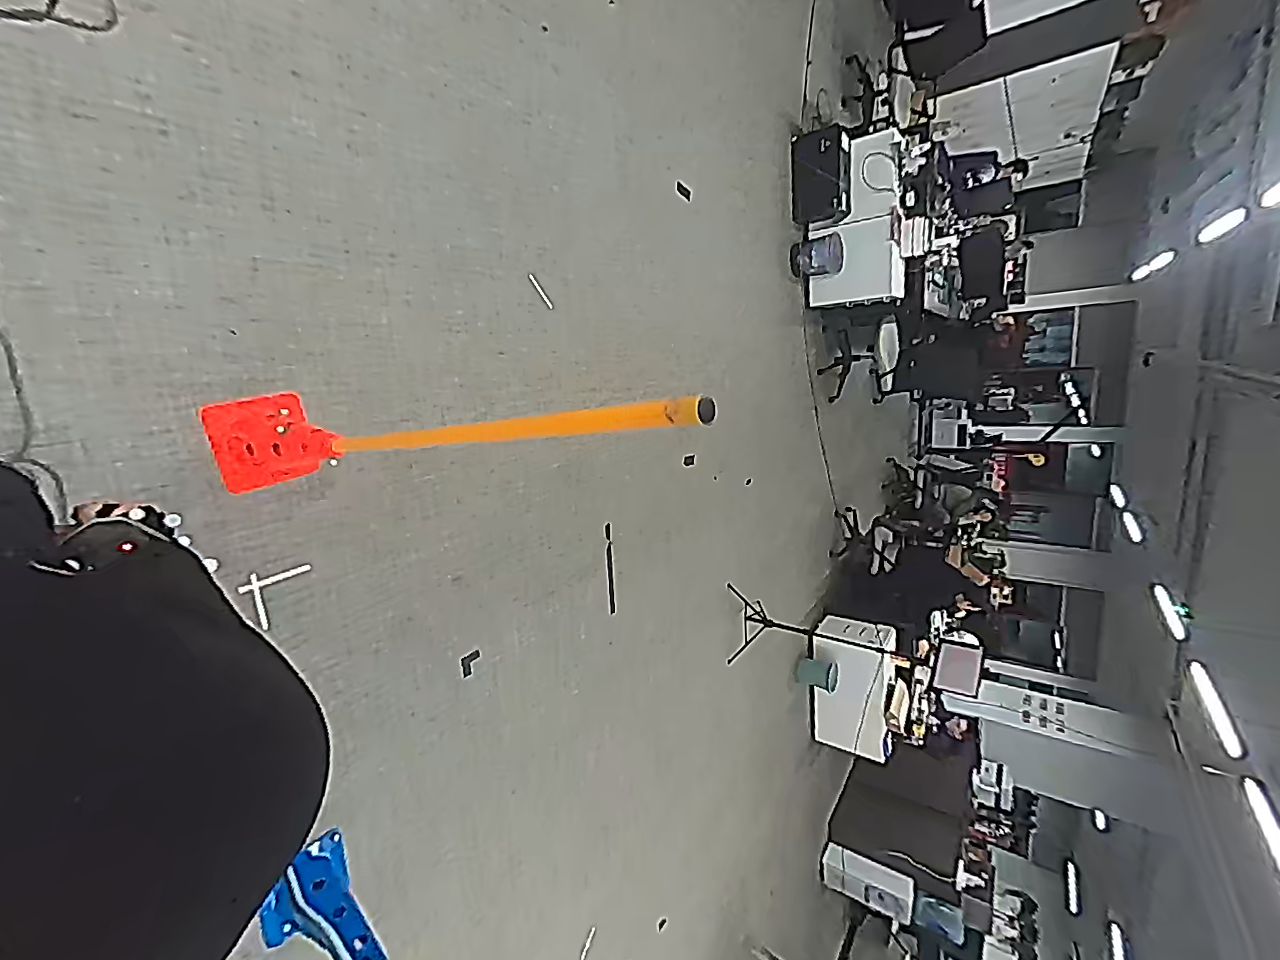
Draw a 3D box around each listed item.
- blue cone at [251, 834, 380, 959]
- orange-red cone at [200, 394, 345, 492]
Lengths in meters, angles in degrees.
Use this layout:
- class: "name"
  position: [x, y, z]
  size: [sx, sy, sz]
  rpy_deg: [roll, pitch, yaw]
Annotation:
- class: "blue cone"
  position: [-0.712, 1.026, 1.249]
  size: [0.193, 0.380, 0.192]
  rpy_deg: [-15, 105, -53]
- class: "orange-red cone"
  position: [-0.712, -0.077, 1.115]
  size: [0.199, 0.360, 0.198]
  rpy_deg: [-26, 113, -49]
